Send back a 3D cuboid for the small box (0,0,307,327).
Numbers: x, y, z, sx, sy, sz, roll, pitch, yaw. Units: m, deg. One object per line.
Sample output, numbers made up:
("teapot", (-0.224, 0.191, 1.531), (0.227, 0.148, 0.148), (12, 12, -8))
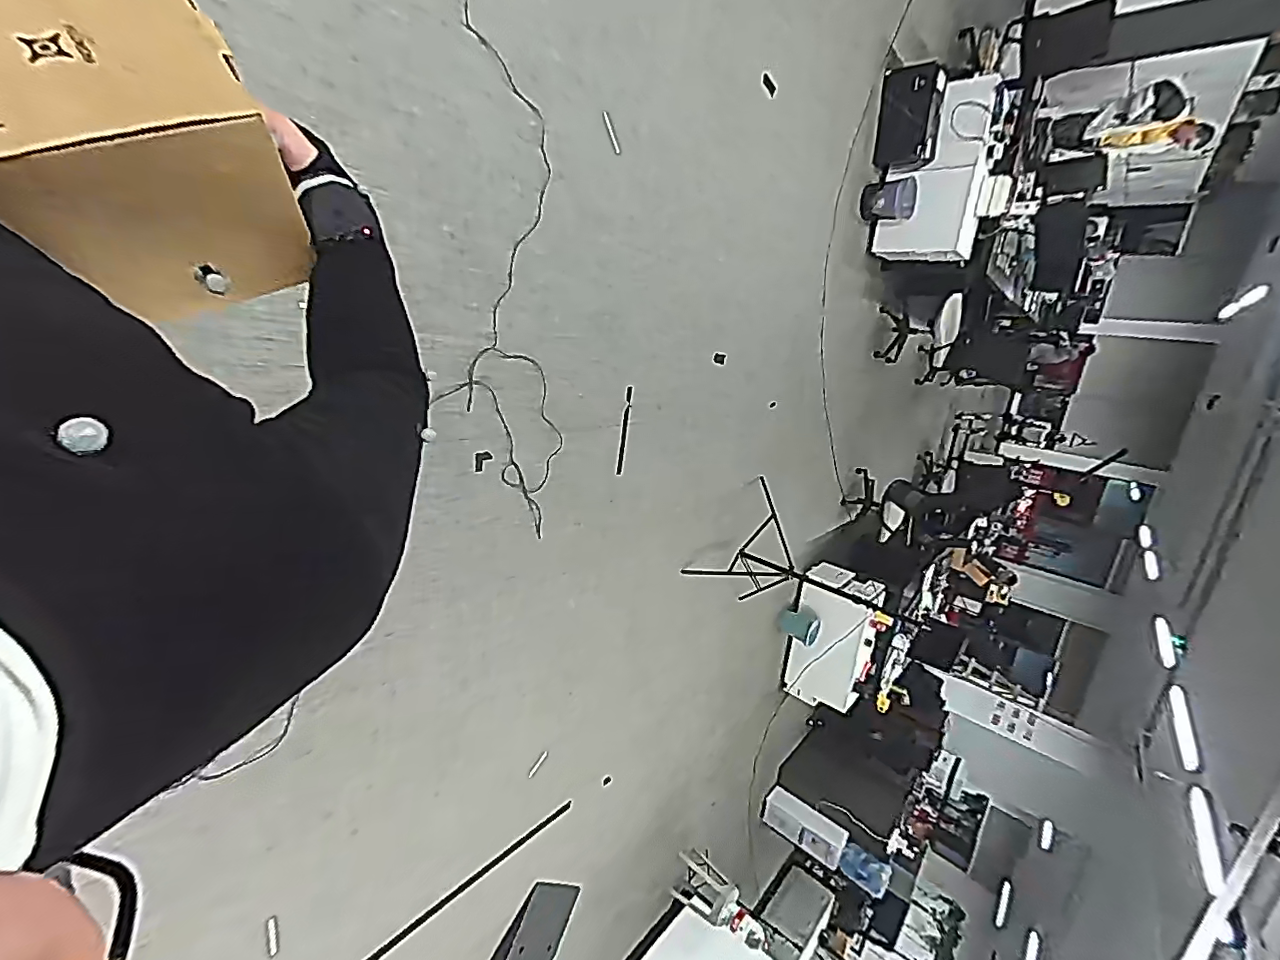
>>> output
("small box", (-0.405, -0.260, 0.444), (0.179, 0.168, 0.176), (-30, 170, -24))
